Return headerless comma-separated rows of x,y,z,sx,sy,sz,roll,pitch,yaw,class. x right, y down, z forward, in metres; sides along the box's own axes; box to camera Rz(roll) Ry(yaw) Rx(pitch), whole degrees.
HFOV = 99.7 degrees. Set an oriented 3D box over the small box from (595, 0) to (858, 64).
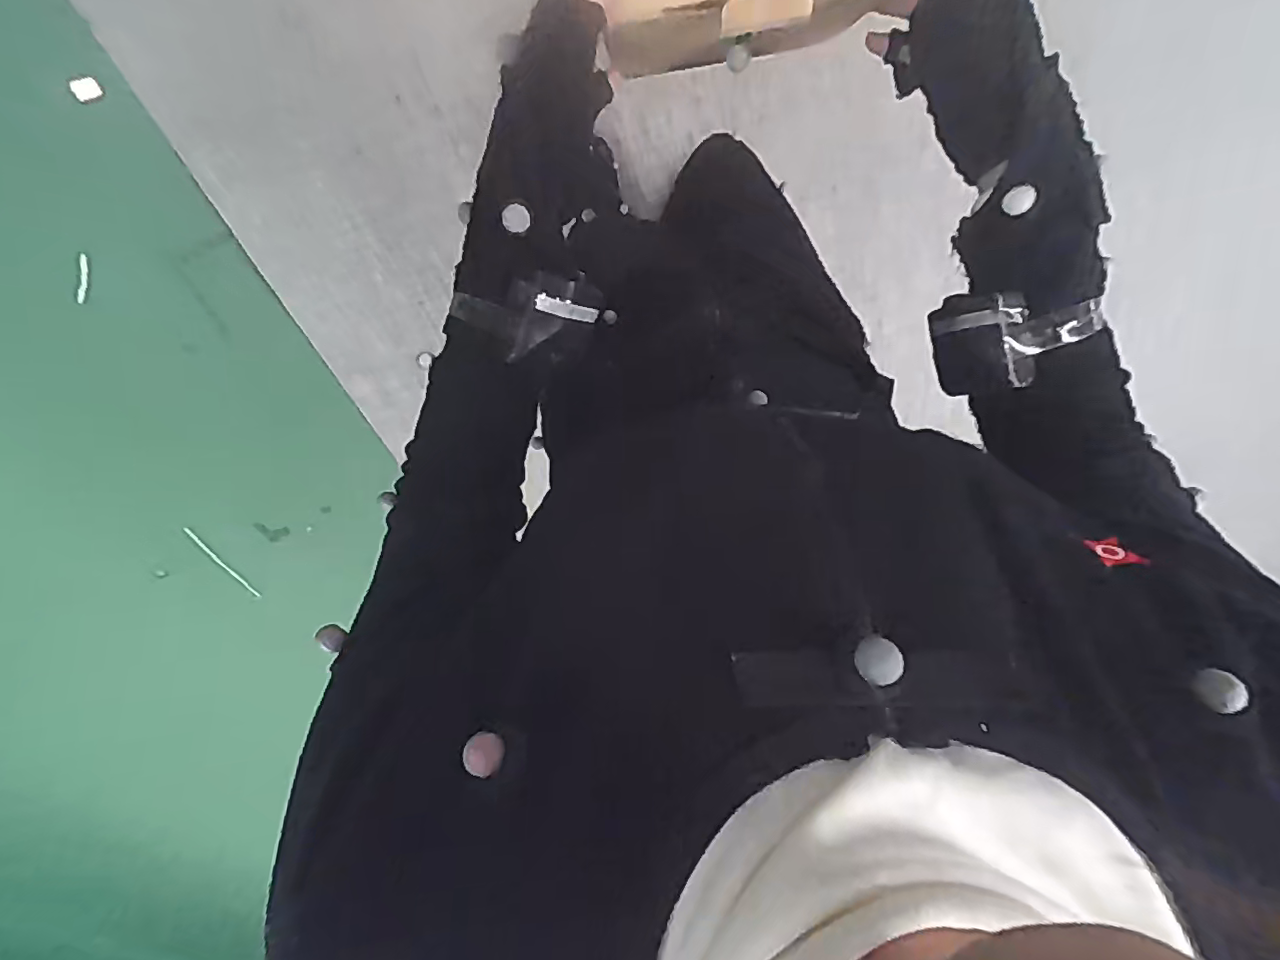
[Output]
0.049,-0.358,0.301,0.168,0.176,0.179,-7,118,5,small box
